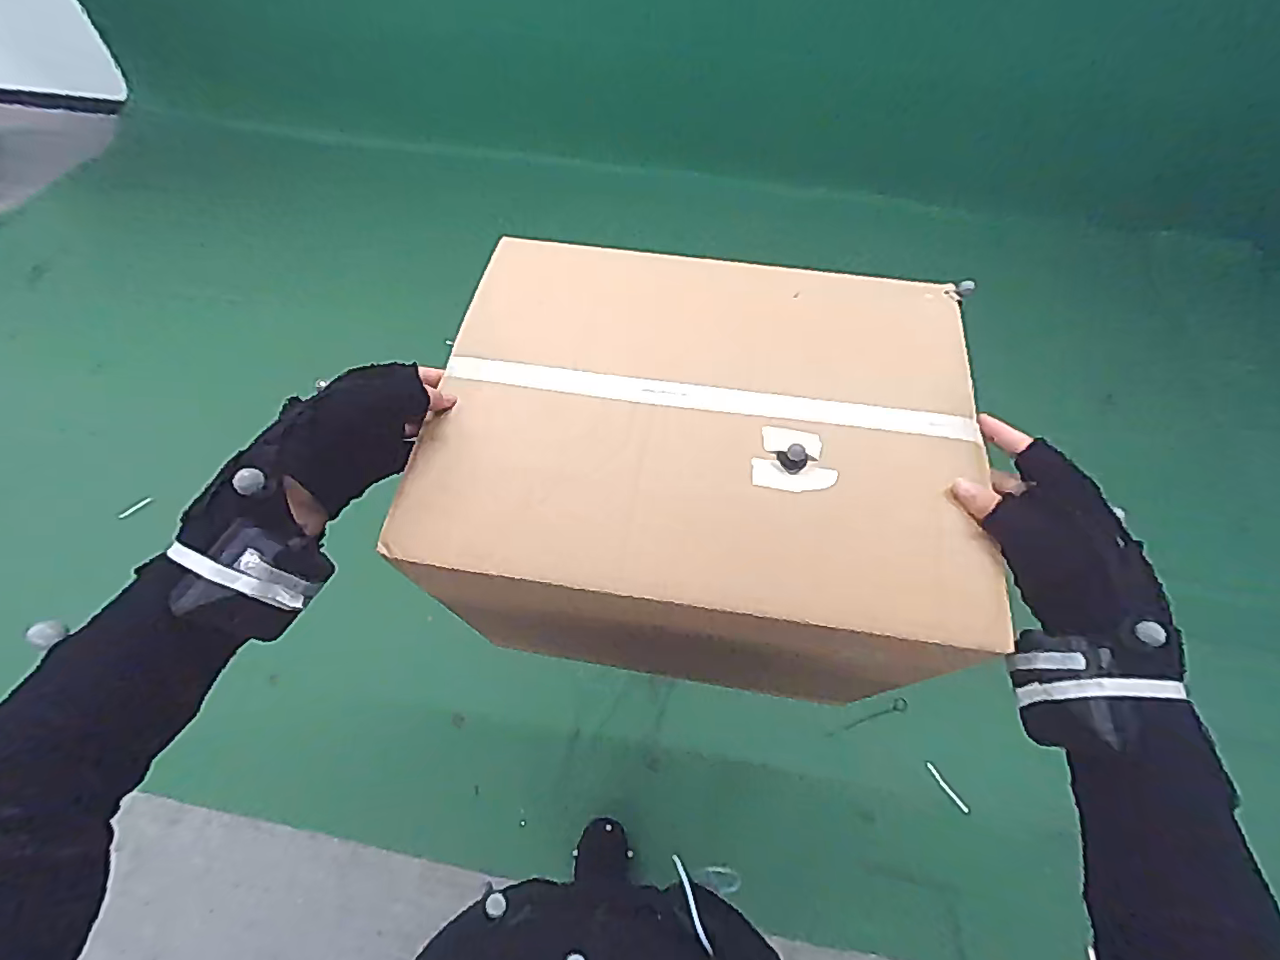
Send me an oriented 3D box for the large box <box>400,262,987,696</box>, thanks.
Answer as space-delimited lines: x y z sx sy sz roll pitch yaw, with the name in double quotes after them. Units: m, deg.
0.047 0.018 0.560 0.408 0.320 0.320 7 63 4 "large box"
